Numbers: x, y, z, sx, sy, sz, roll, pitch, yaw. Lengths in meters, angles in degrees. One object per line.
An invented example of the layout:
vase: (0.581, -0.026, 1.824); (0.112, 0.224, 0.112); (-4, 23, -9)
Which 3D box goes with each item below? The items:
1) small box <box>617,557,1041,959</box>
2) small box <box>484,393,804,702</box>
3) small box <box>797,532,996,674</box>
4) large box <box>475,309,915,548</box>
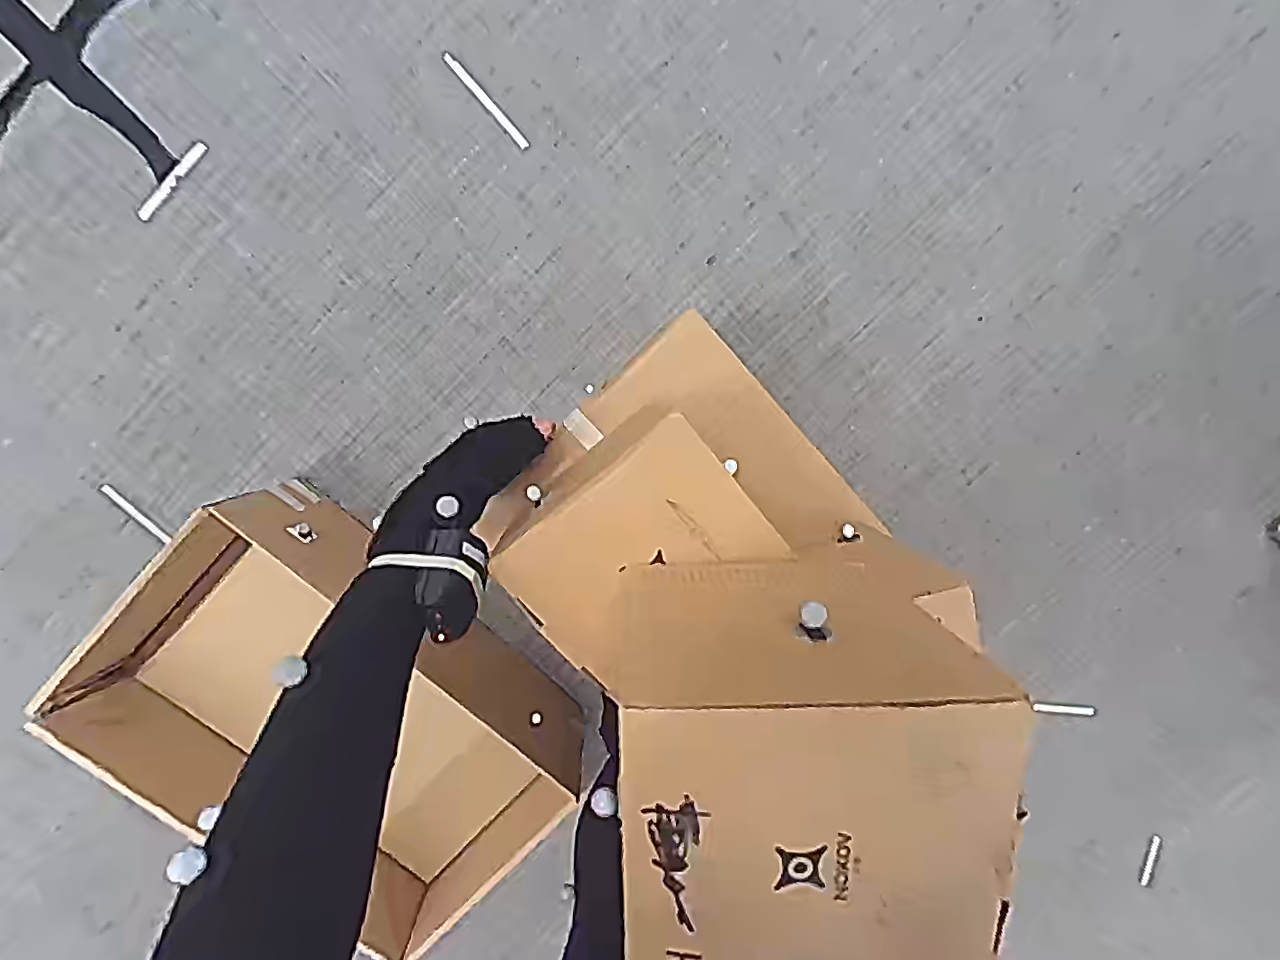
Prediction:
small box: (0.076, 0.149, 0.313); (0.179, 0.176, 0.168); (-1, 101, -1)
small box: (0.003, 0.044, 0.457); (0.179, 0.176, 0.168); (-40, 102, 4)
small box: (0.184, 0.157, 0.484); (0.168, 0.176, 0.179); (-17, 100, 0)
large box: (0.067, 0.044, 0.708); (0.320, 0.320, 0.408); (-44, 101, 7)
